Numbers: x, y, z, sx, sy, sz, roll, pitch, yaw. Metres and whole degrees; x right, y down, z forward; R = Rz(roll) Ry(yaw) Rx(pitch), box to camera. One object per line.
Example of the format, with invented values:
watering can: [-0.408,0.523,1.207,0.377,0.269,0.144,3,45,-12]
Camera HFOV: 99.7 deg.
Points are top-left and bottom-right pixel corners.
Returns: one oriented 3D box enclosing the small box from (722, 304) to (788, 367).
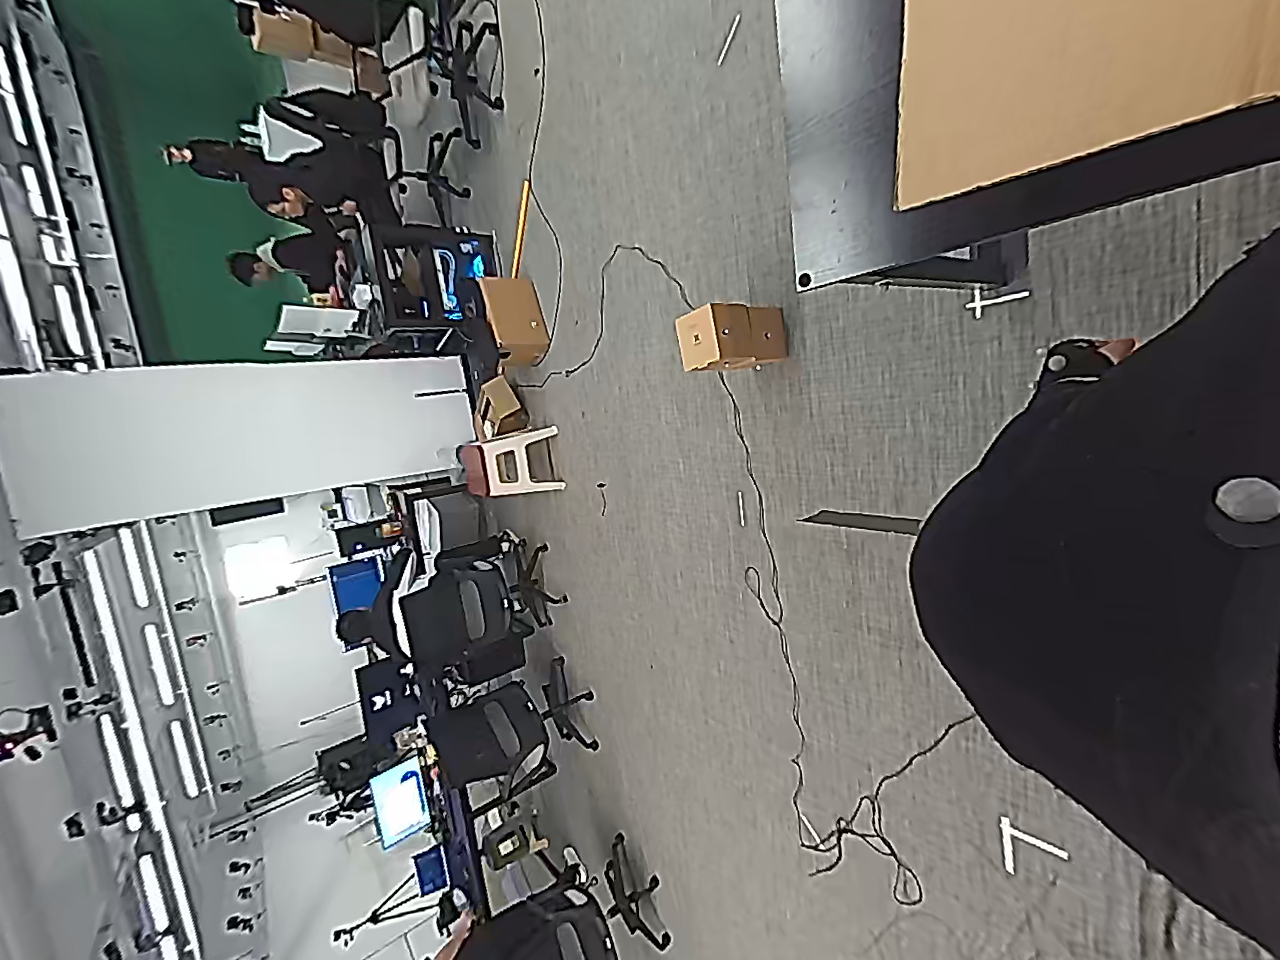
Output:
small box: [0.380,-0.485,1.830,0.168,0.176,0.179,-2,99,54]

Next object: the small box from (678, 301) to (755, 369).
small box: [0.249,-0.463,1.736,0.168,0.176,0.179,-8,93,53]
